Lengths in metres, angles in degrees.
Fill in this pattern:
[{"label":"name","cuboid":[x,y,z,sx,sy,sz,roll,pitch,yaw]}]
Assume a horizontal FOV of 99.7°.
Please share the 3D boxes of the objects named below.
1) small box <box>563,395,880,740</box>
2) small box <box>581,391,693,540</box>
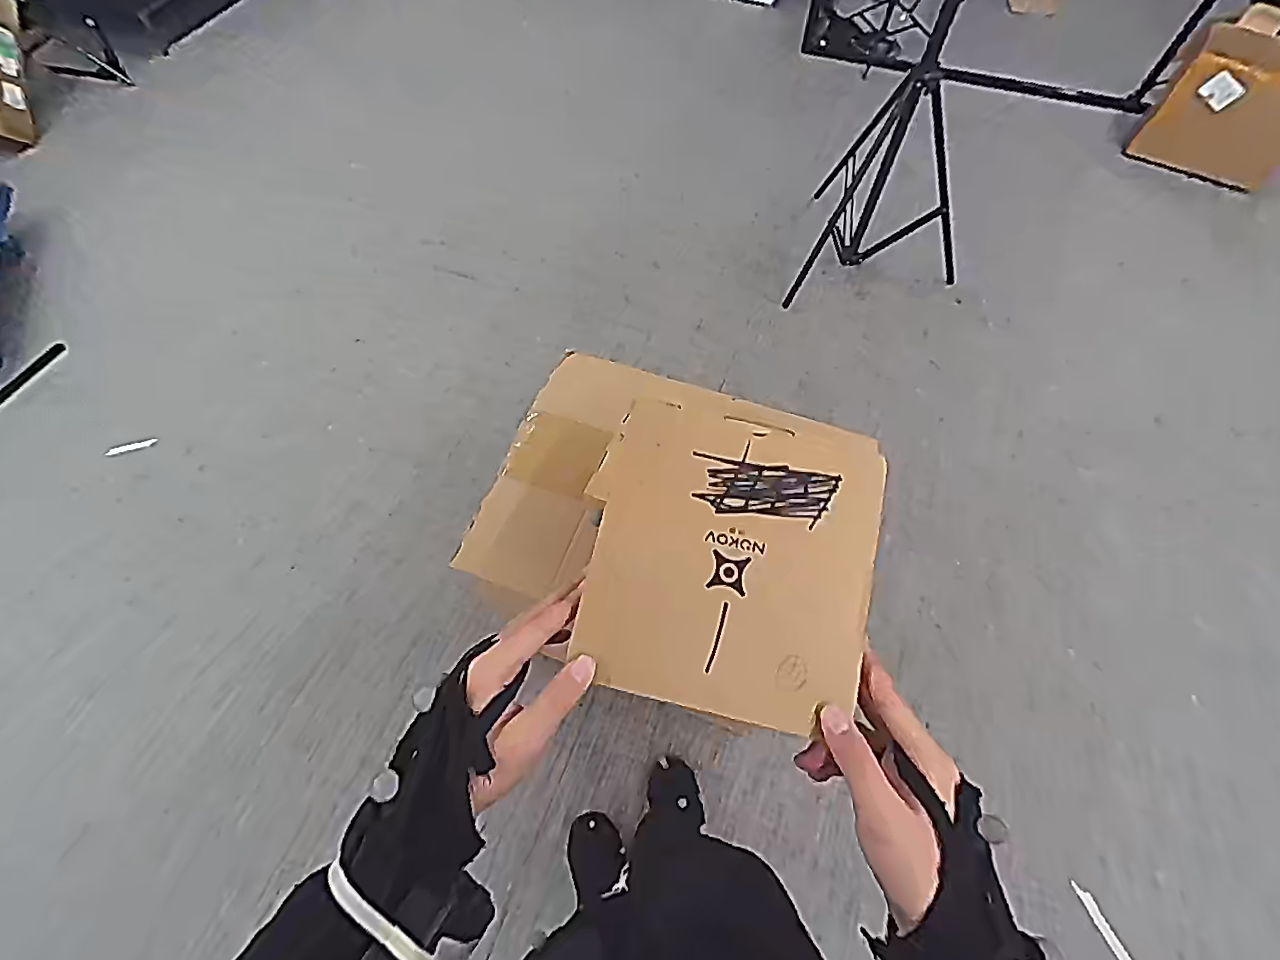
[{"label":"small box","cuboid":[0.052,0.065,0.402,0.168,0.176,0.179,14,76,3]},{"label":"small box","cuboid":[0.047,0.022,0.688,0.179,0.176,0.168,21,64,12]}]
